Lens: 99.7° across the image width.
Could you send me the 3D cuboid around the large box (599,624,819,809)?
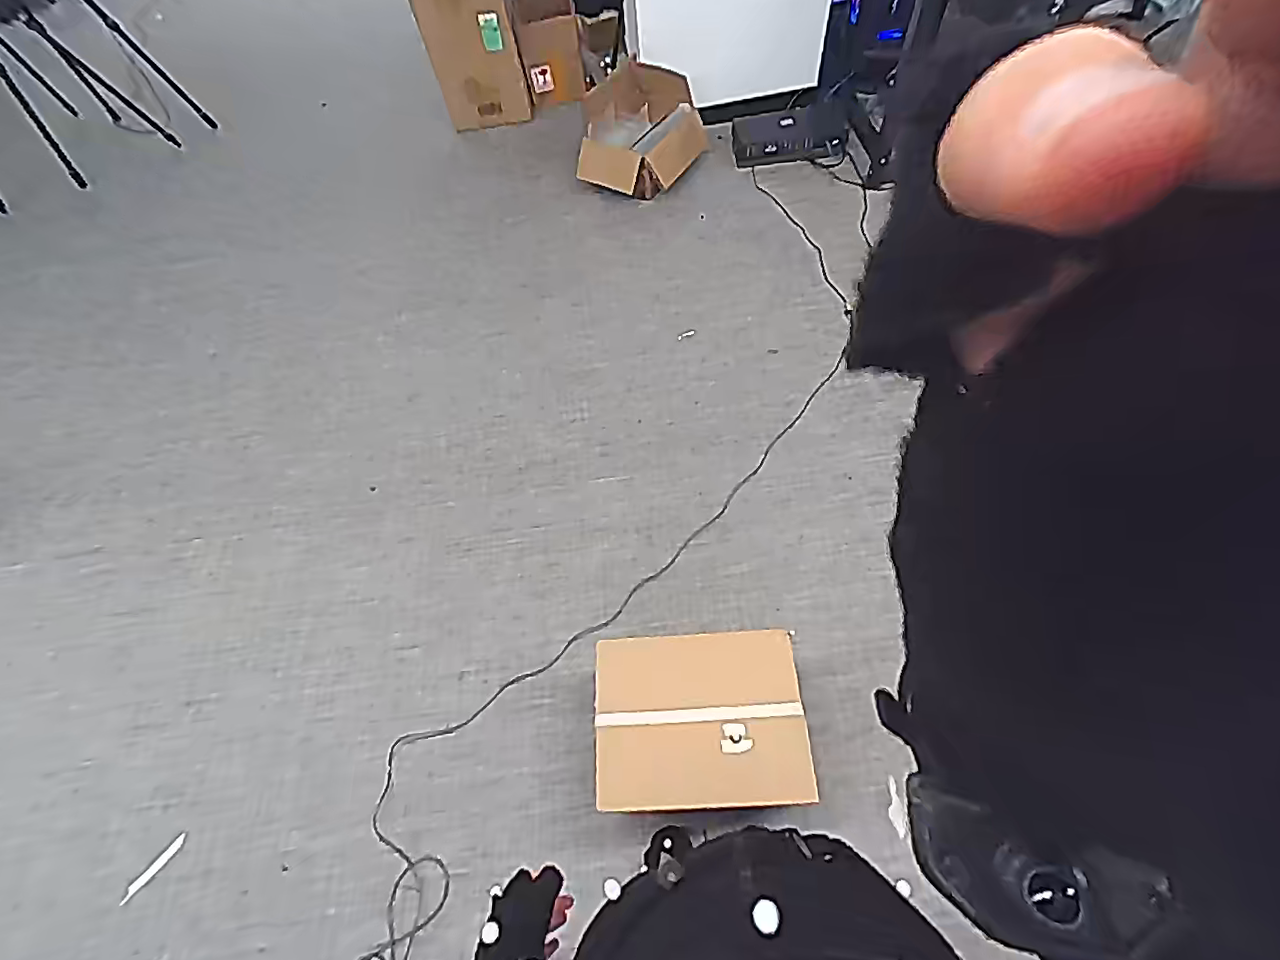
[{"bbox_3d":[0.130,0.524,1.183,0.408,0.320,0.320,-5,60,2],"label":"large box"}]
